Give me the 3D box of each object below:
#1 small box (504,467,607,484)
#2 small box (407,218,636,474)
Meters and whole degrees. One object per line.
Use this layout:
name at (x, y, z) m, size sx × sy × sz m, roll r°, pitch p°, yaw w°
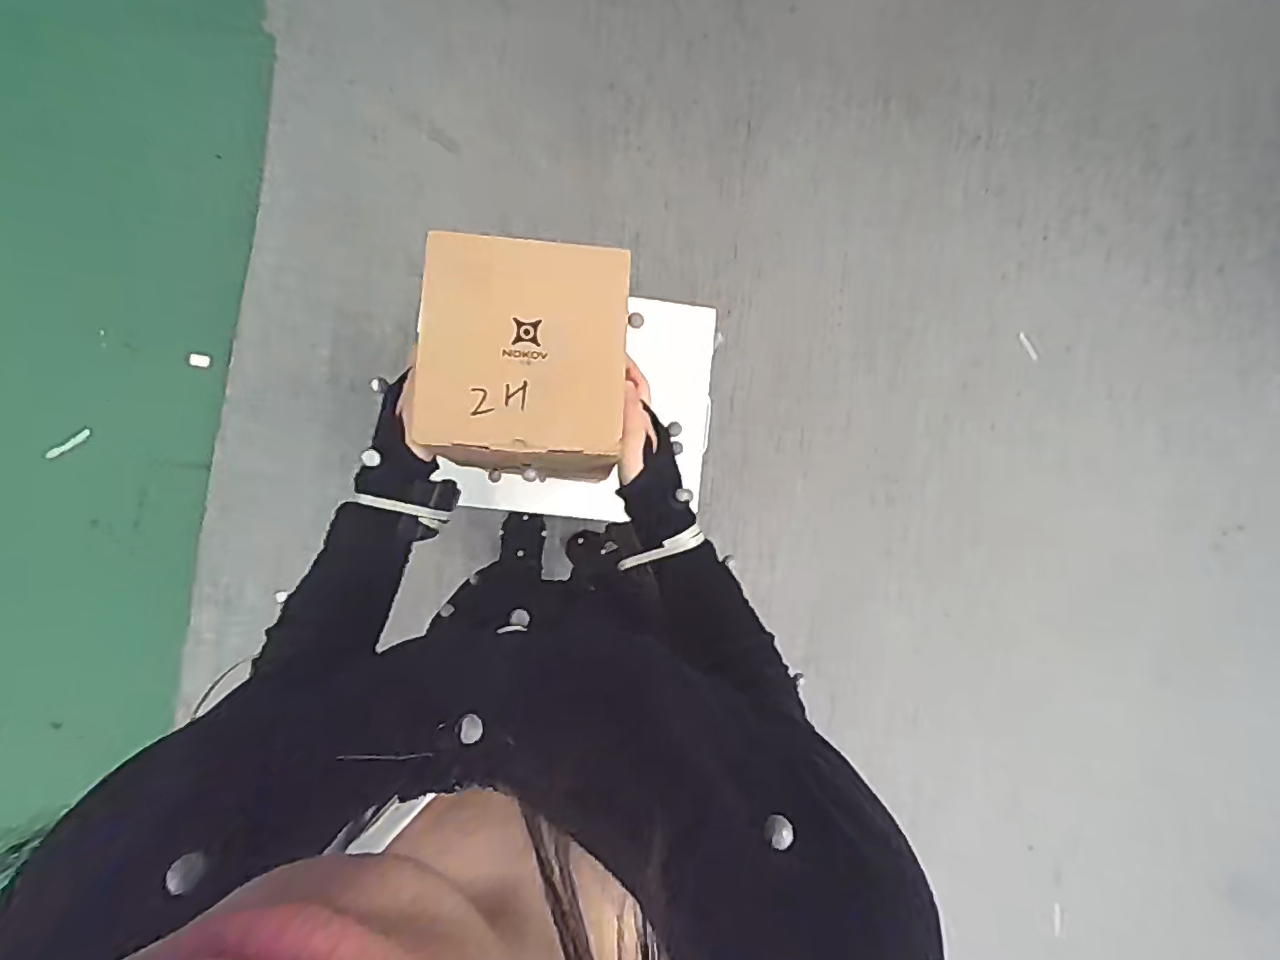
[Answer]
small box at (-0.128, -0.093, 0.830) m, size 0.168 × 0.176 × 0.179 m, roll 7°, pitch 86°, yaw -6°
small box at (-0.098, -0.106, 0.499) m, size 0.168 × 0.176 × 0.179 m, roll 3°, pitch 84°, yaw -6°
